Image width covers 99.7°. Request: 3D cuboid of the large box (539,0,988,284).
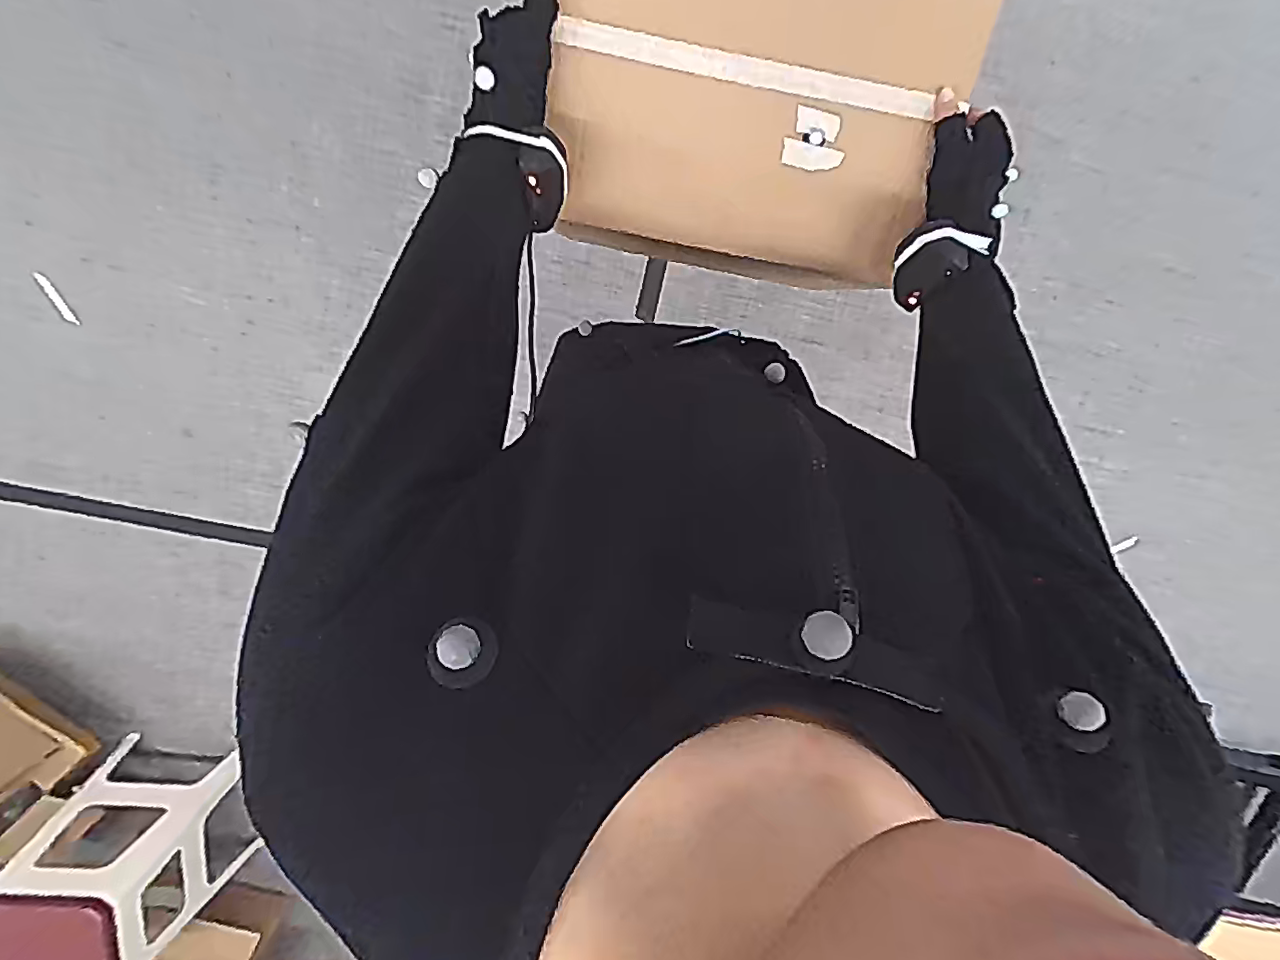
[{"bbox_3d":[0.110,-0.436,0.664,0.408,0.320,0.320,9,110,-4],"label":"large box"}]
